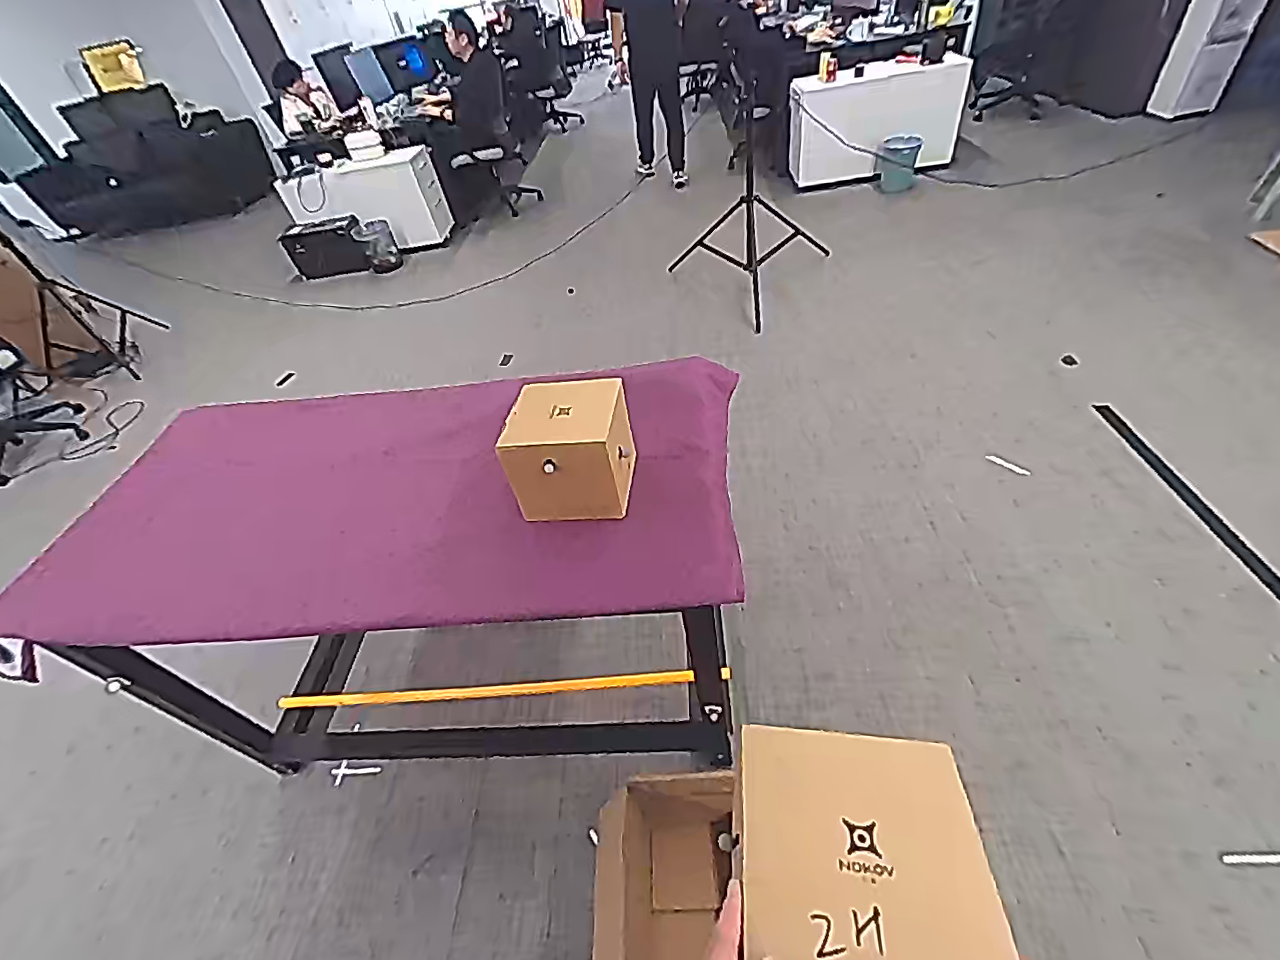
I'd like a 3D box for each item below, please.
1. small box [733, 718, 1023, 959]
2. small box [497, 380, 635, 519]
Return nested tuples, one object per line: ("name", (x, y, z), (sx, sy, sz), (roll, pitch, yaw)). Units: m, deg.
("small box", (0.160, 0.320, 0.421), (0.168, 0.176, 0.179), (2, 35, 9))
("small box", (-0.110, -0.048, 0.907), (0.179, 0.176, 0.168), (-2, 43, 11))
